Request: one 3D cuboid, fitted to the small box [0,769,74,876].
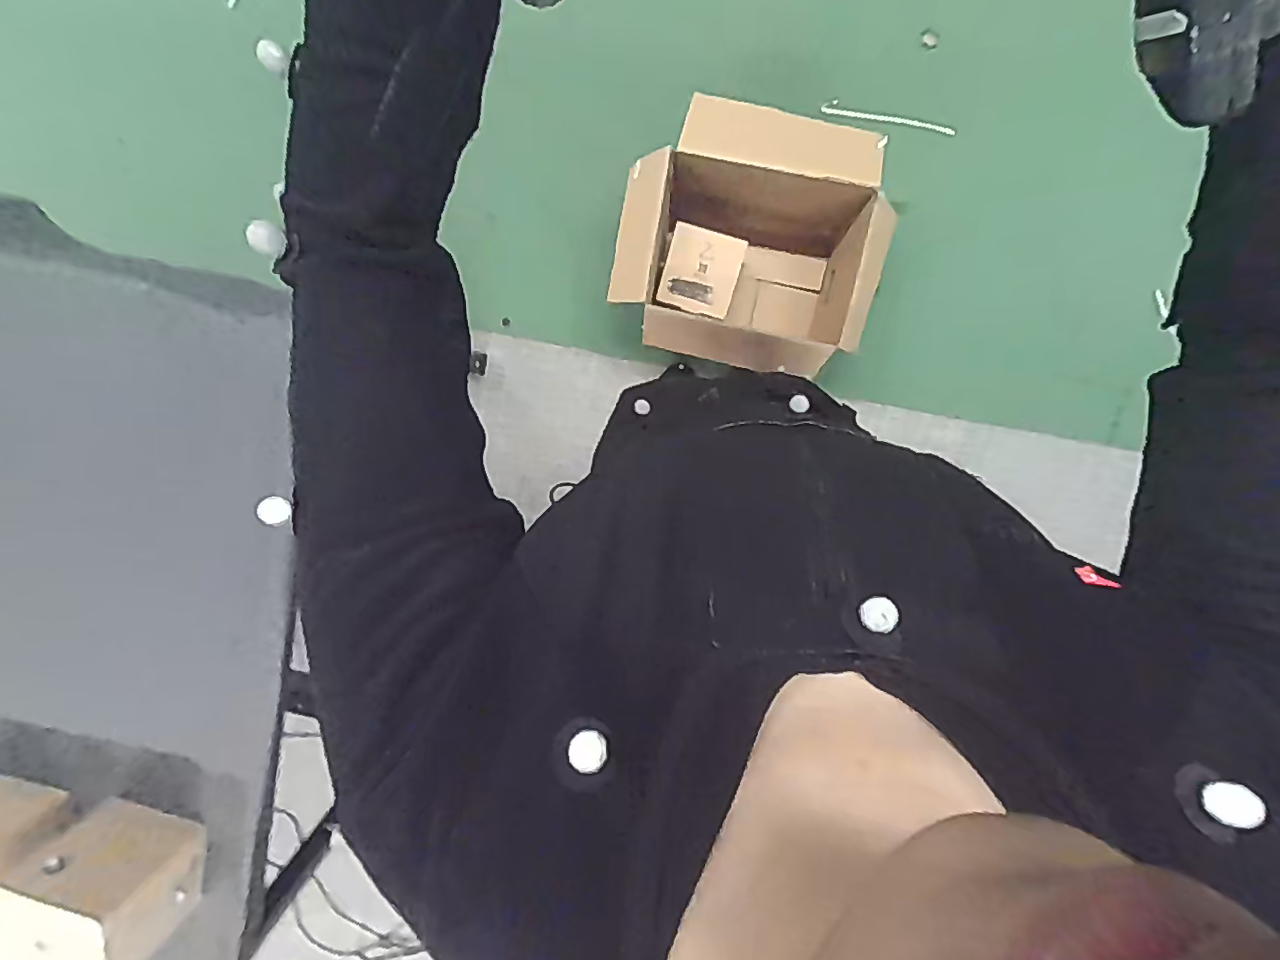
[{"bbox_3d":[-1.065,0.596,0.861,0.179,0.176,0.168,13,102,2],"label":"small box"}]

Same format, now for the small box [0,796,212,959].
[{"bbox_3d":[-0.833,0.640,0.852,0.179,0.176,0.168,15,102,2],"label":"small box"}]
